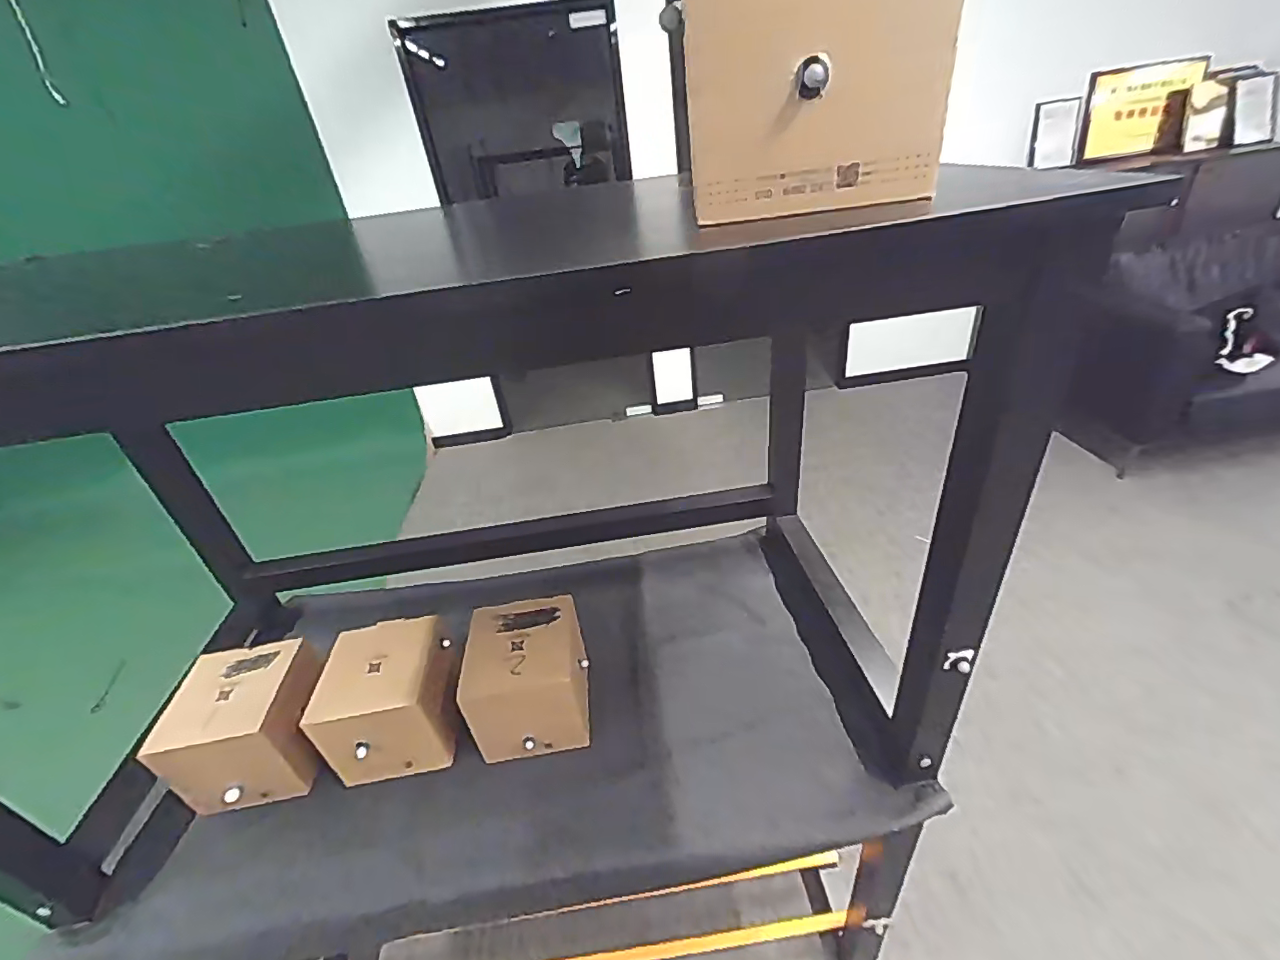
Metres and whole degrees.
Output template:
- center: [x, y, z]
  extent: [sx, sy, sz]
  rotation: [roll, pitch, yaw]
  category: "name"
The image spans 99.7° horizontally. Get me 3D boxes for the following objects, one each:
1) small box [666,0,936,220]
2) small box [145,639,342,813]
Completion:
- center: [0.110, -0.304, 0.412]
  extent: [0.168, 0.176, 0.179]
  rotation: [-3, 32, 7]
  category: "small box"
- center: [-0.606, 0.388, 0.861]
  extent: [0.168, 0.176, 0.179]
  rotation: [-10, 33, -3]
  category: "small box"
